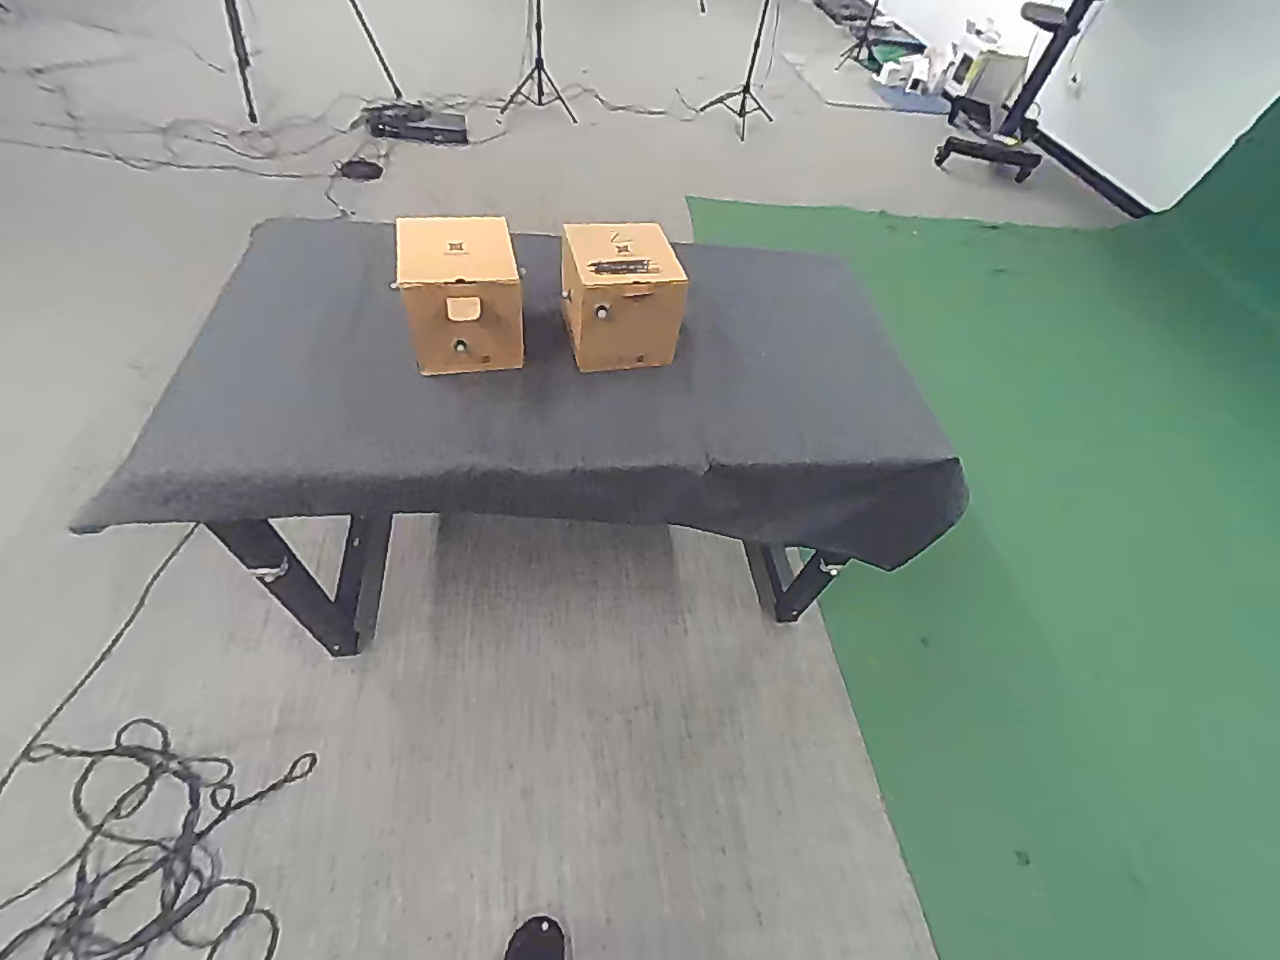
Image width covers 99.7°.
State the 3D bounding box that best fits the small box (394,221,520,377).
[{"bbox_3d":[-0.286,-0.286,0.858,0.168,0.176,0.179,-9,55,-15],"label":"small box"}]
